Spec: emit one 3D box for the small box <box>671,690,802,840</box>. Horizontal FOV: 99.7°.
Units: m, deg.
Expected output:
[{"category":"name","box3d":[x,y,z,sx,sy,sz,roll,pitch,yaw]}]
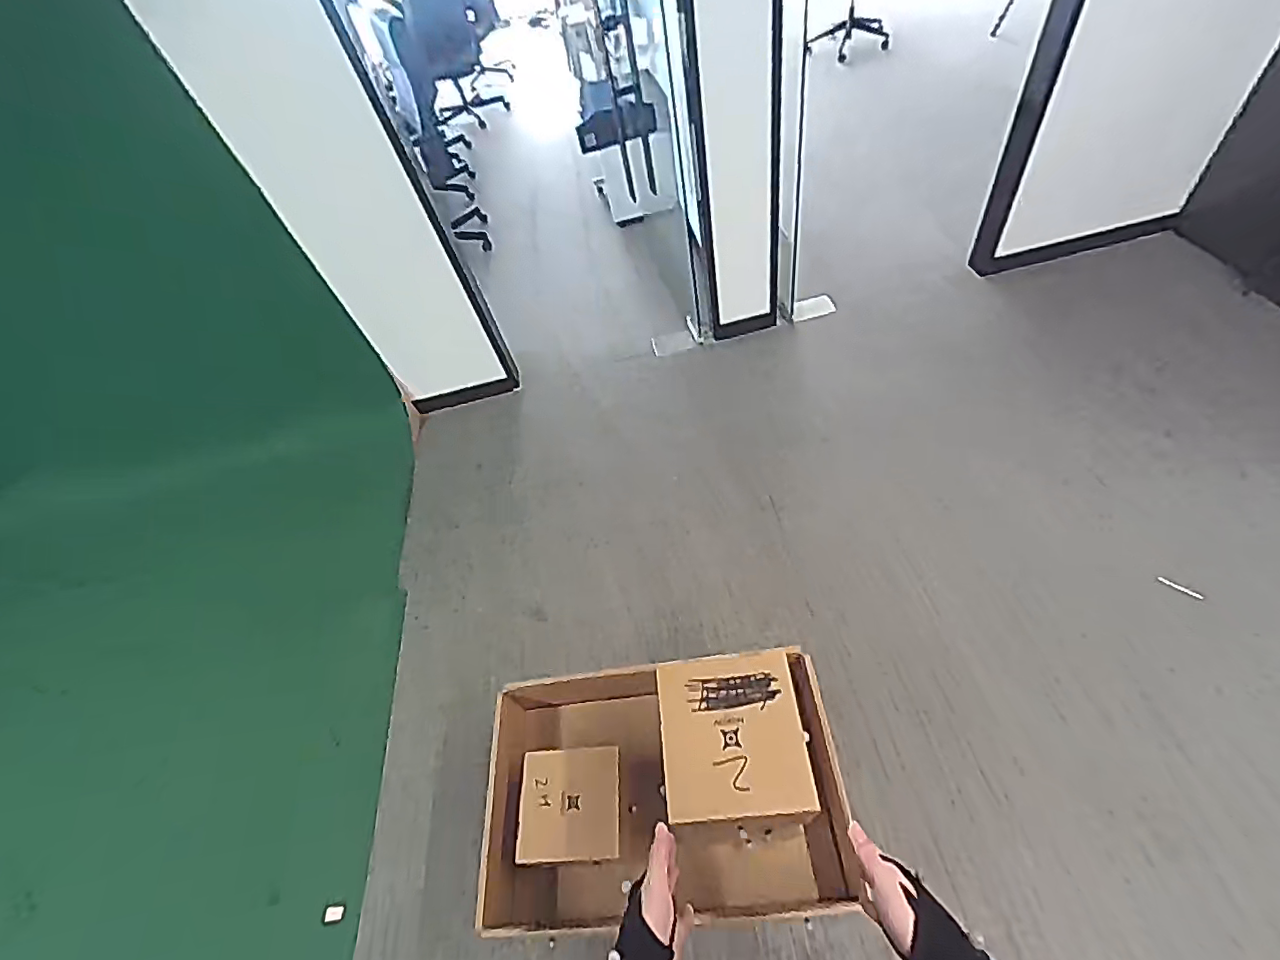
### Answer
[{"category":"small box","box3d":[0.144,0.439,0.824,0.168,0.176,0.179,-8,52,6]}]
